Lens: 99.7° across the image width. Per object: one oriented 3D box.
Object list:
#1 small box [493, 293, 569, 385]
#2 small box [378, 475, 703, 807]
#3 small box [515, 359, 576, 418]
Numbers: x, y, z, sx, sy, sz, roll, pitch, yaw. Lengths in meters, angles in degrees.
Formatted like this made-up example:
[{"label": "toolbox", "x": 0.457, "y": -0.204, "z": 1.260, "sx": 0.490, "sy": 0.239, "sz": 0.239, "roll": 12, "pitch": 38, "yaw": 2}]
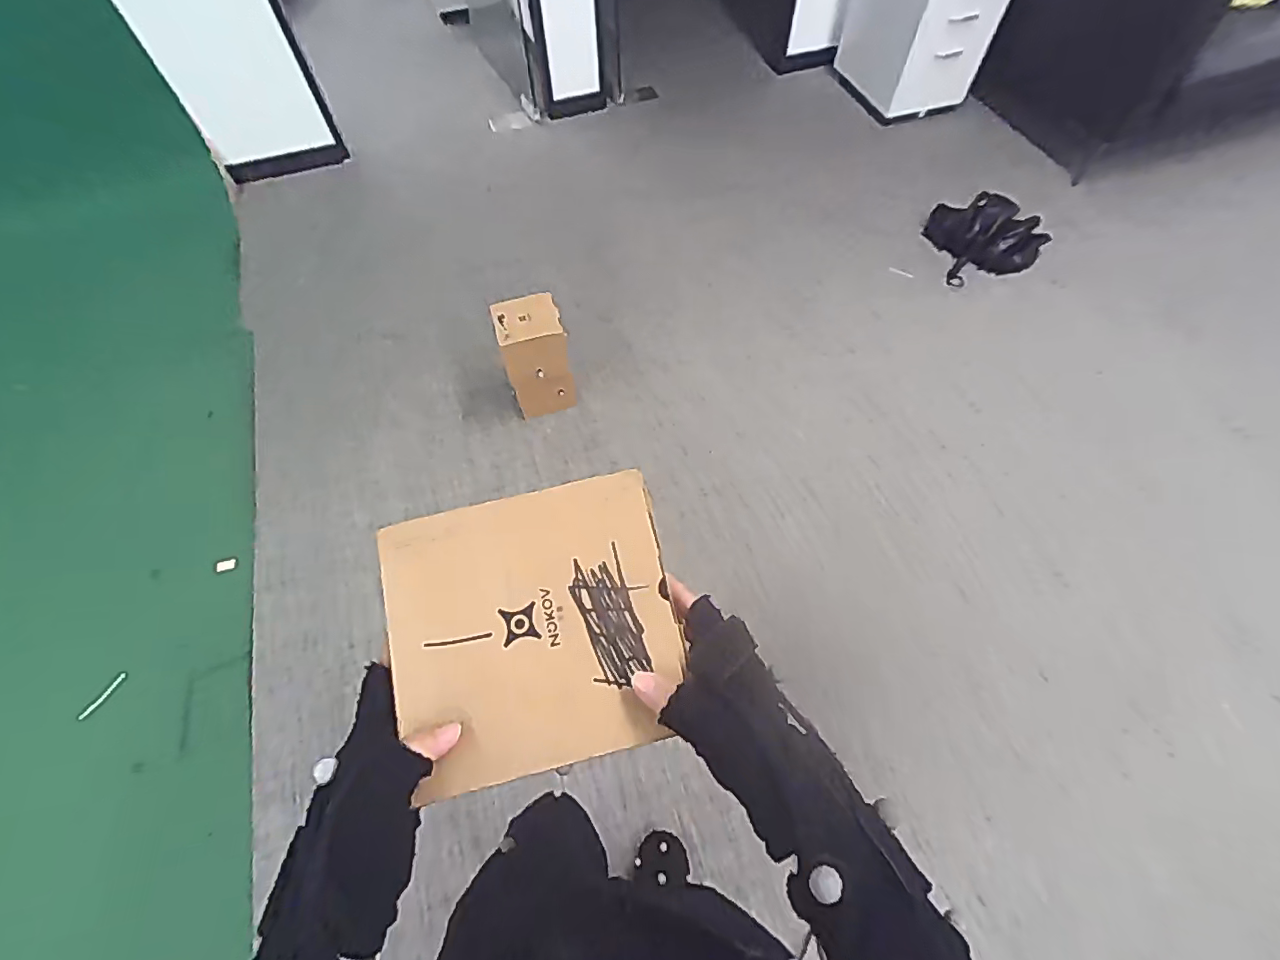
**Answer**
[{"label": "small box", "x": -0.305, "y": -0.398, "z": 1.541, "sx": 0.179, "sy": 0.176, "sz": 0.168, "roll": -14, "pitch": 61, "yaw": -8}, {"label": "small box", "x": -0.070, "y": 0.114, "z": 0.417, "sx": 0.179, "sy": 0.176, "sz": 0.168, "roll": -16, "pitch": 74, "yaw": -7}, {"label": "small box", "x": -0.305, "y": -0.323, "z": 1.686, "sx": 0.179, "sy": 0.176, "sz": 0.168, "roll": -19, "pitch": 61, "yaw": -8}]
